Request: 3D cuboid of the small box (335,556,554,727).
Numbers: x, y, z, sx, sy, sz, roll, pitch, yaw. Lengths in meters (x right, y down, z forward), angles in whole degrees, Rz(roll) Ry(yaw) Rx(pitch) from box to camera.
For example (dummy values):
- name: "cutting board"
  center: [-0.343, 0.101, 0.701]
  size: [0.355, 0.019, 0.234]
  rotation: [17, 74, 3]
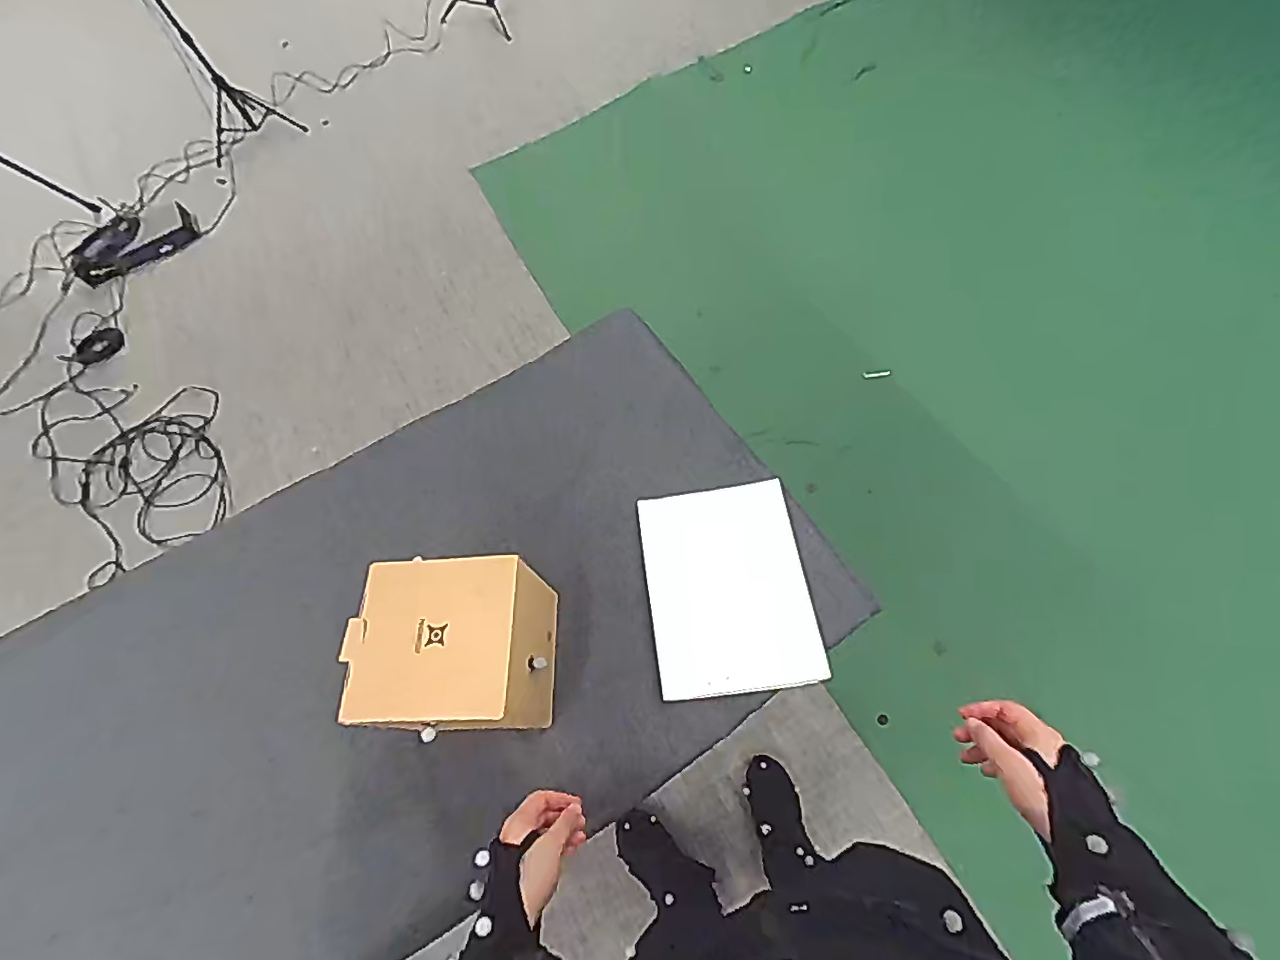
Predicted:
- name: "small box"
  center: [-0.205, 0.193, 0.626]
  size: [0.179, 0.176, 0.168]
  rotation: [-5, 64, 7]
